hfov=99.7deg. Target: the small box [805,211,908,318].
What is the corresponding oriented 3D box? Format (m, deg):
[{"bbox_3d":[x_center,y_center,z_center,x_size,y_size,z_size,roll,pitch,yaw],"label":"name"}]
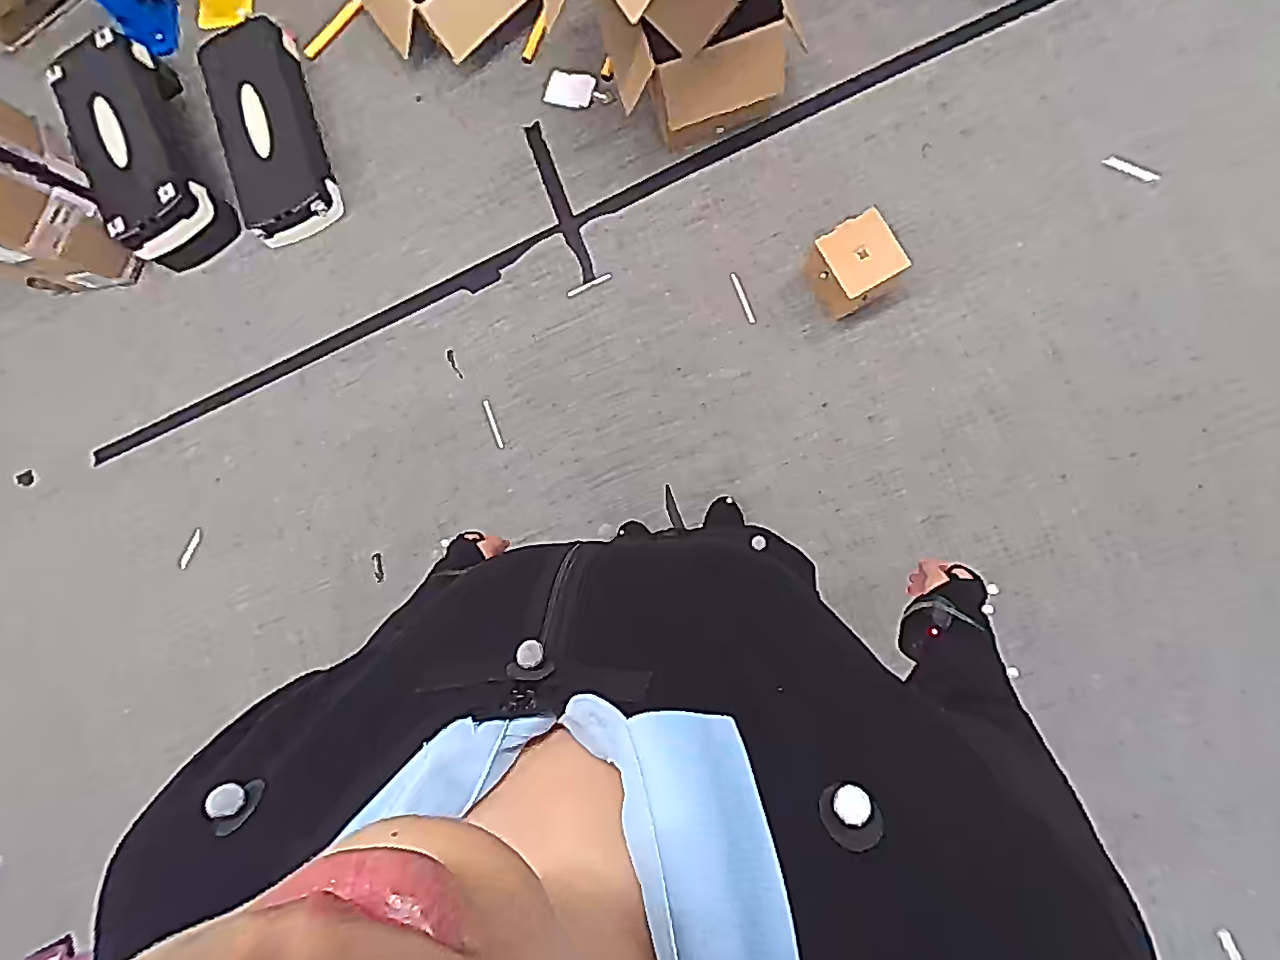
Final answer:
[{"bbox_3d":[0.548,-0.540,1.391,0.168,0.176,0.179,-29,83,6],"label":"small box"}]
